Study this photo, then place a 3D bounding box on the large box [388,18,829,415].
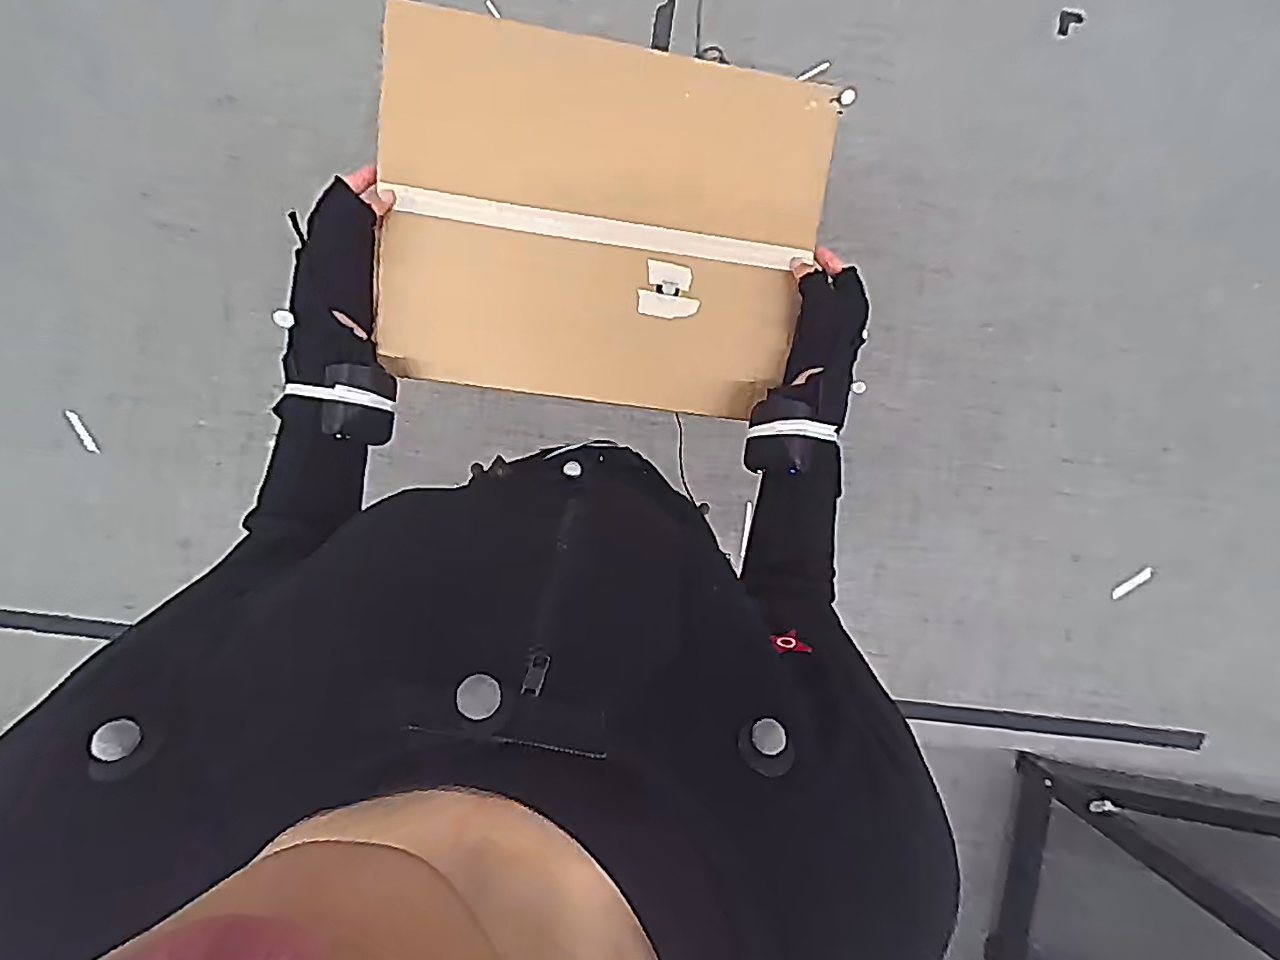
[{"bbox_3d":[-0.048,-0.264,0.665,0.408,0.320,0.320,7,101,-7],"label":"large box"}]
